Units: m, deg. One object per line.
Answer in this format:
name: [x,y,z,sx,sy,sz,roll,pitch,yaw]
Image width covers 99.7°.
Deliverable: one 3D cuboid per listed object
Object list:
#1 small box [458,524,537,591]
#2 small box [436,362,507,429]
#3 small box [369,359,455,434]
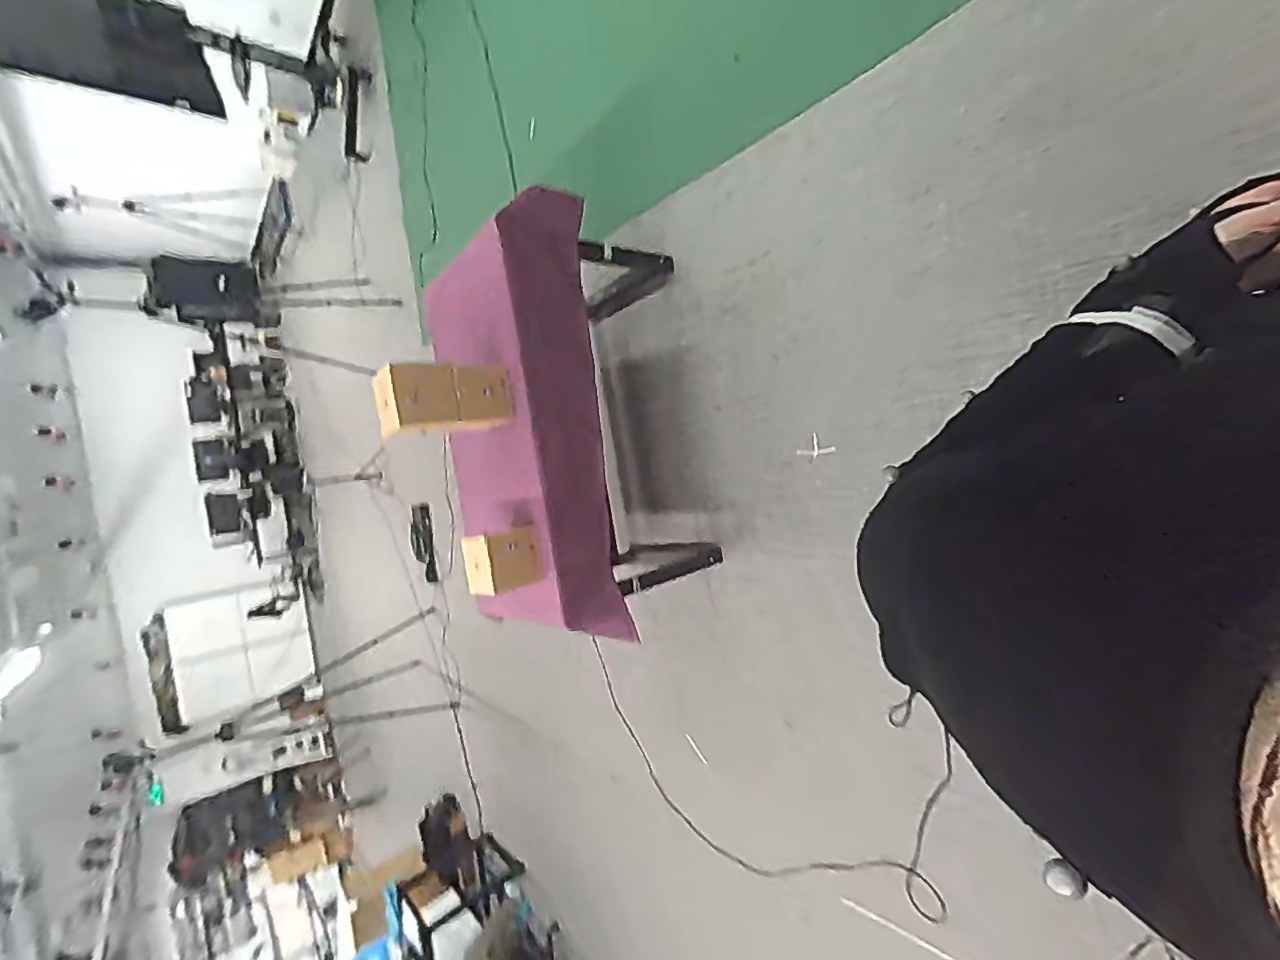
small box: [-0.418,0.228,1.612,0.179,0.176,0.168,-11,89,50]
small box: [-0.511,-0.253,1.620,0.179,0.176,0.168,-8,91,48]
small box: [-0.633,-0.234,1.510,0.168,0.176,0.179,-9,91,49]
